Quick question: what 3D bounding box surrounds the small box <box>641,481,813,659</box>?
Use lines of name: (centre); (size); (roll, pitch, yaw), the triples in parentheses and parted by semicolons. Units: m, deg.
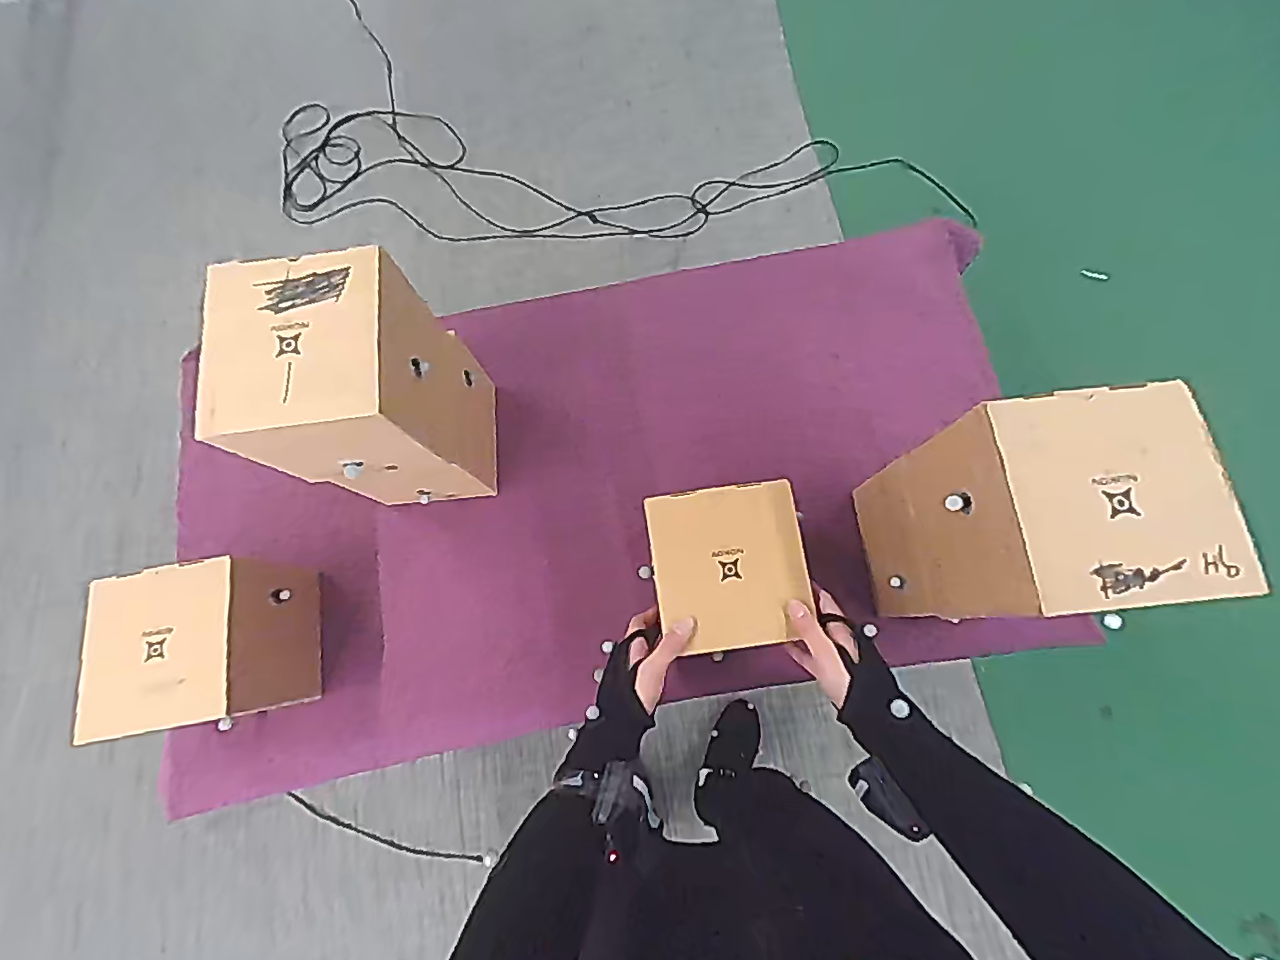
small box: (0.097, 0.114, 0.663); (0.168, 0.176, 0.179); (-8, 74, 1)

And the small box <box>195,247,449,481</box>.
small box: (-0.311, -0.109, 0.566); (0.168, 0.176, 0.179); (-7, 77, 1)

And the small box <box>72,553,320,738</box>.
small box: (-0.524, 0.199, 0.666); (0.168, 0.176, 0.179); (-10, 75, 0)

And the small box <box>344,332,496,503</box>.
small box: (-0.299, -0.075, 0.727); (0.168, 0.176, 0.179); (-5, 76, 1)

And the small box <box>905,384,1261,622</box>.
small box: (0.370, 0.033, 0.497); (0.168, 0.176, 0.179); (-6, 74, 2)
